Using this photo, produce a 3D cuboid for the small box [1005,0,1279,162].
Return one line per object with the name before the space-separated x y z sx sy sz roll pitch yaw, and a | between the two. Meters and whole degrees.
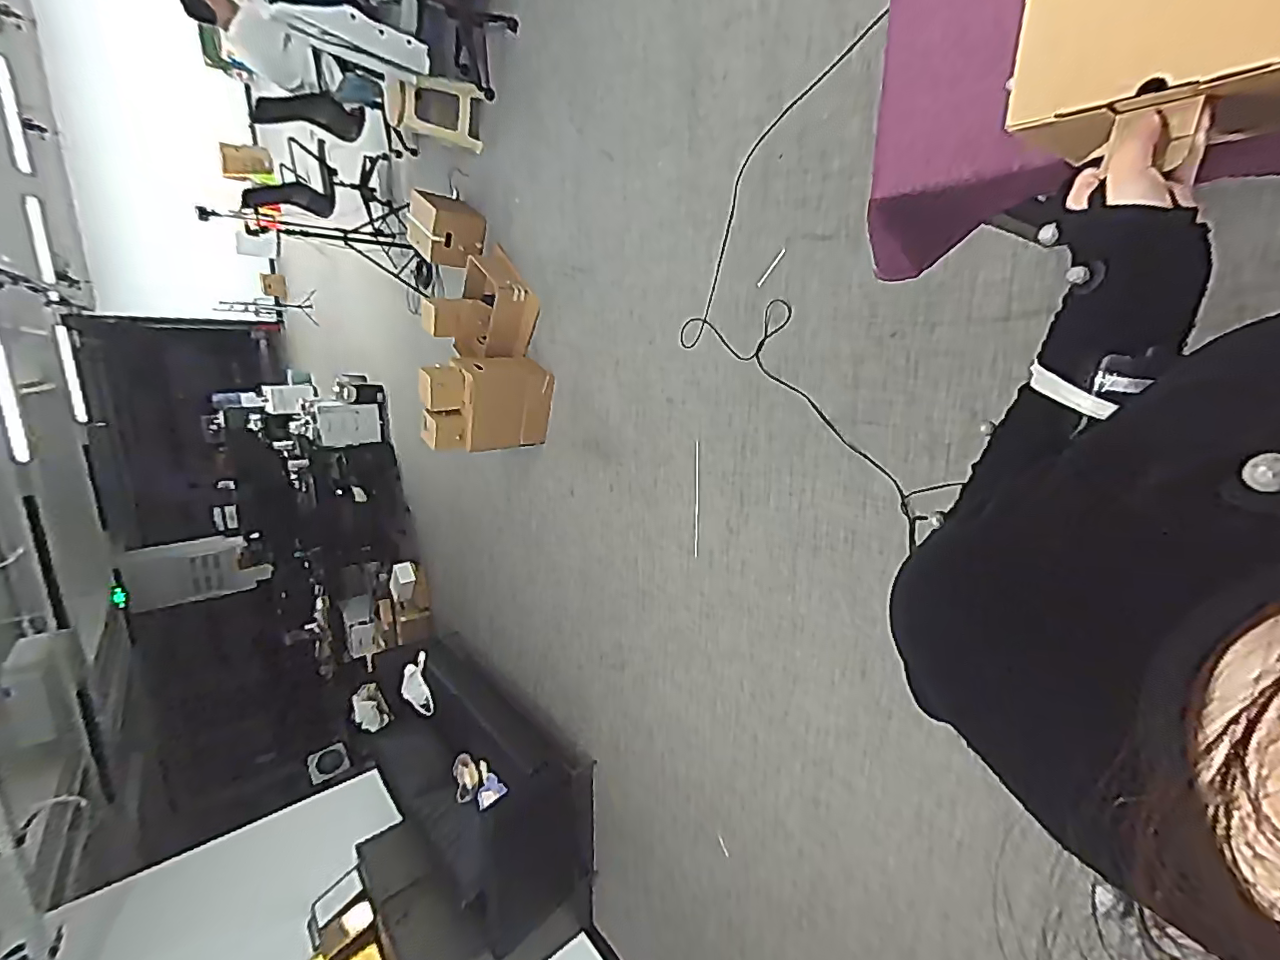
small box | 0.396 -0.351 0.383 0.168 0.176 0.179 20 117 49
